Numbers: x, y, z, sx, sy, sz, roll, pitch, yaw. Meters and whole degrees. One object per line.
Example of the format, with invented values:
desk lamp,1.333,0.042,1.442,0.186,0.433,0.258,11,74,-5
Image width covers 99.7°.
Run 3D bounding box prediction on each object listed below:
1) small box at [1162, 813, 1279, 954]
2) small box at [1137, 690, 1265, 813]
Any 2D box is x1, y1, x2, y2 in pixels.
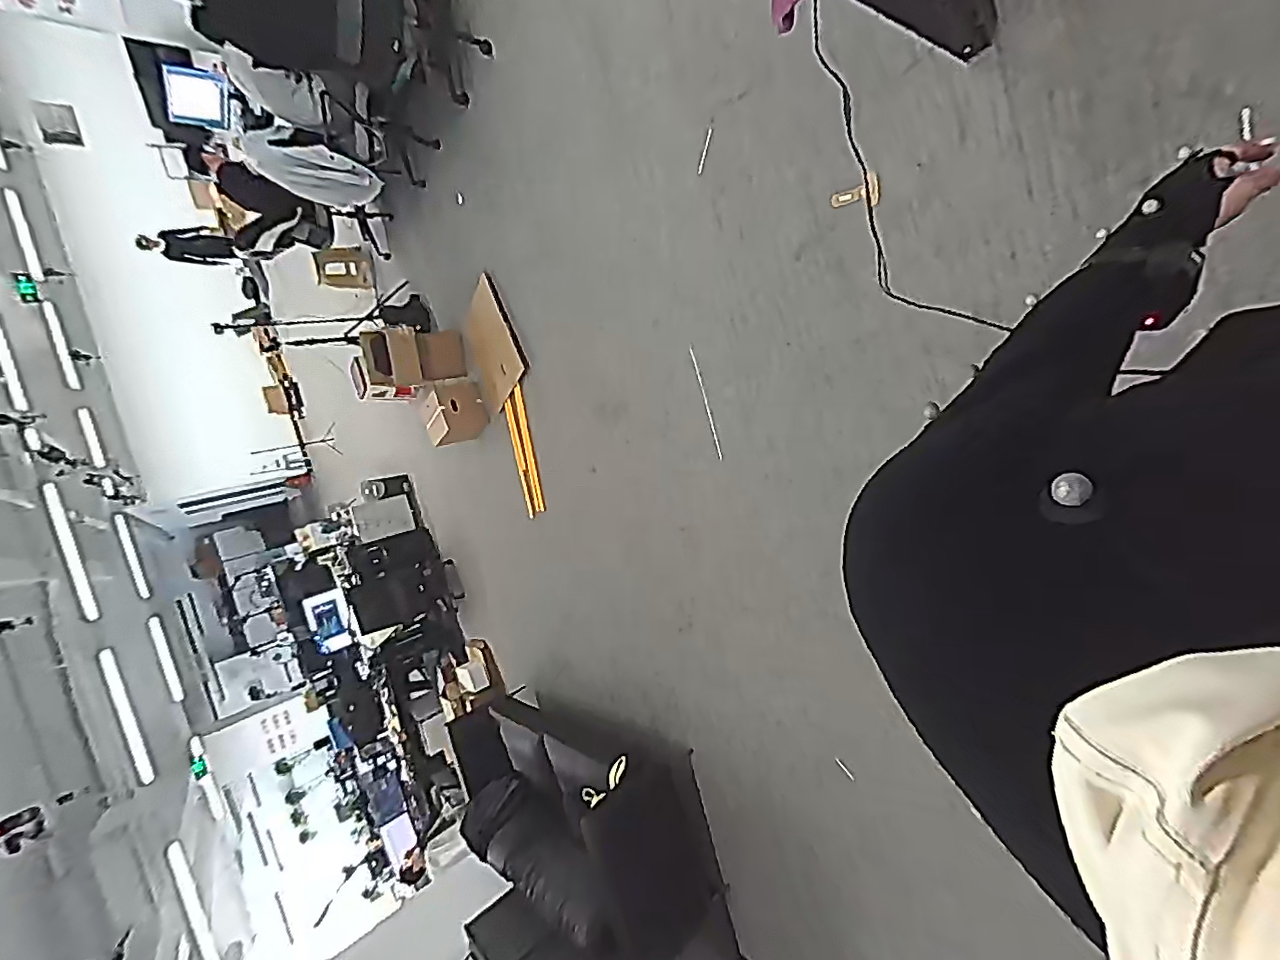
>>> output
small box,1.346,0.911,1.242,0.179,0.176,0.168,-12,95,53
small box,1.266,0.597,1.219,0.179,0.176,0.168,-12,95,53
